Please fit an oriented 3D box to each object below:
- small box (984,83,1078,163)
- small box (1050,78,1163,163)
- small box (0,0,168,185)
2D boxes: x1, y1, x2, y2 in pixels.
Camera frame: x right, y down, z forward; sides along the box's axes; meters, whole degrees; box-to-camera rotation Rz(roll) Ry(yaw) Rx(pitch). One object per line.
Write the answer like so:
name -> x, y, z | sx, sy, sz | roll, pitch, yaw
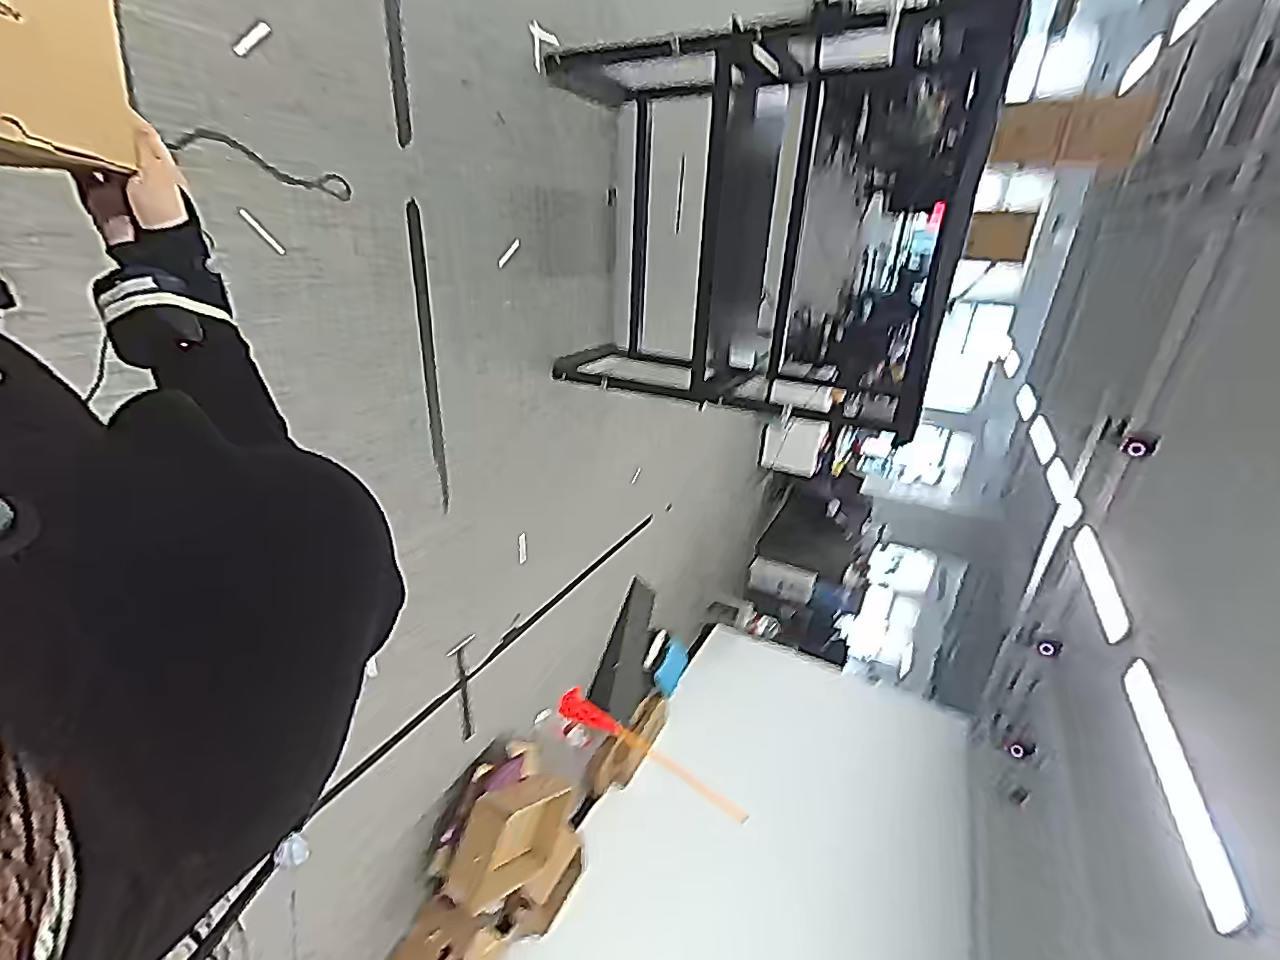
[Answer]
small box -> 1.064, -0.974, 1.487 | 0.179, 0.176, 0.168 | -42, 139, -51
small box -> 1.211, -0.937, 1.422 | 0.179, 0.176, 0.168 | -41, 137, -52
small box -> -0.459, -0.306, 0.338 | 0.168, 0.176, 0.179 | -70, 165, -75
